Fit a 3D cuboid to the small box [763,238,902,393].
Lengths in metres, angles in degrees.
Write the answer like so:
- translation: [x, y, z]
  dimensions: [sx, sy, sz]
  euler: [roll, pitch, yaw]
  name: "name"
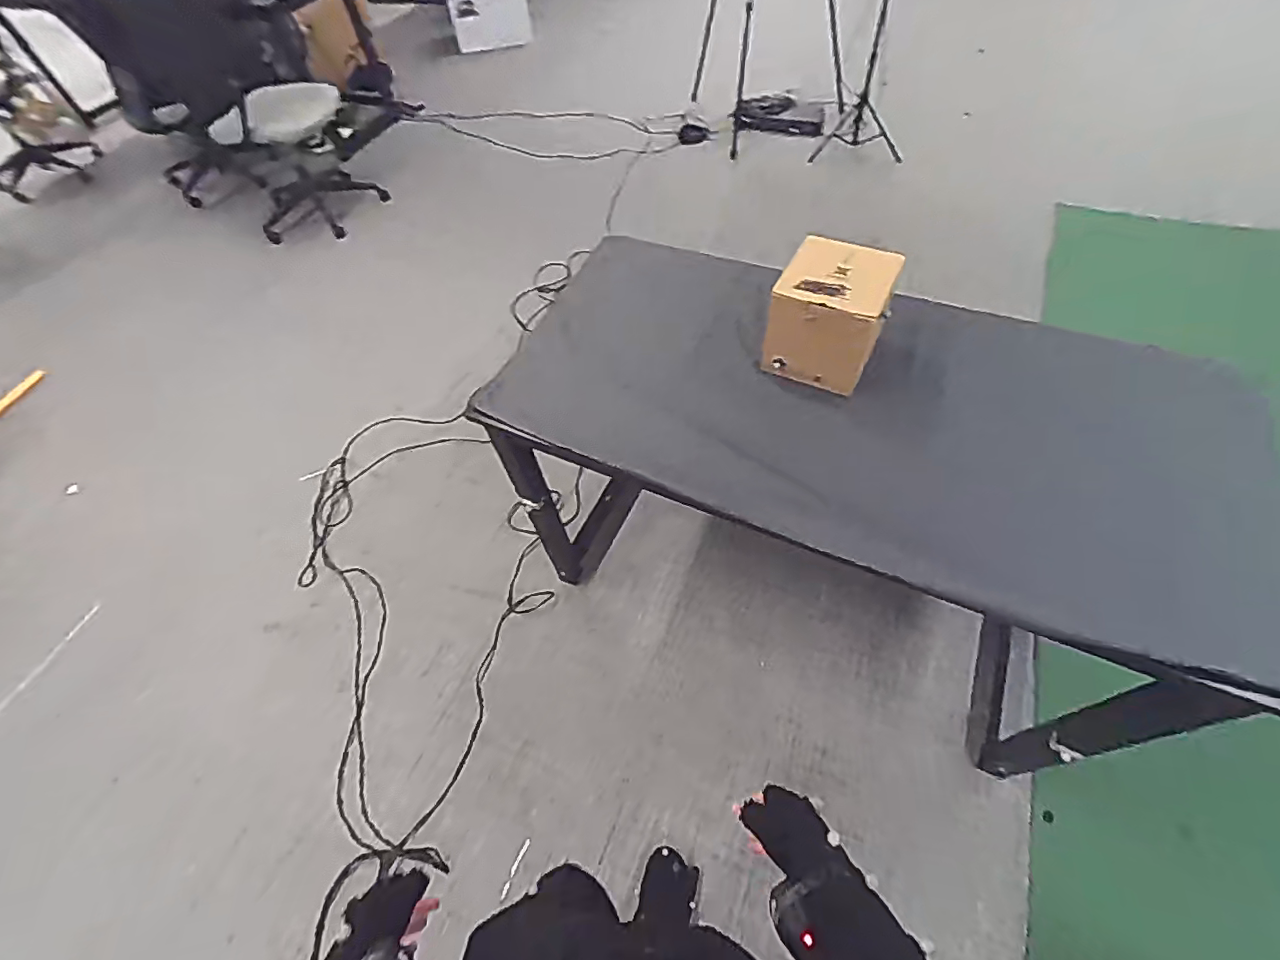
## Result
- translation: [0.321, -0.278, 0.929]
  dimensions: [0.168, 0.176, 0.179]
  euler: [23, 60, 19]
  name: "small box"
